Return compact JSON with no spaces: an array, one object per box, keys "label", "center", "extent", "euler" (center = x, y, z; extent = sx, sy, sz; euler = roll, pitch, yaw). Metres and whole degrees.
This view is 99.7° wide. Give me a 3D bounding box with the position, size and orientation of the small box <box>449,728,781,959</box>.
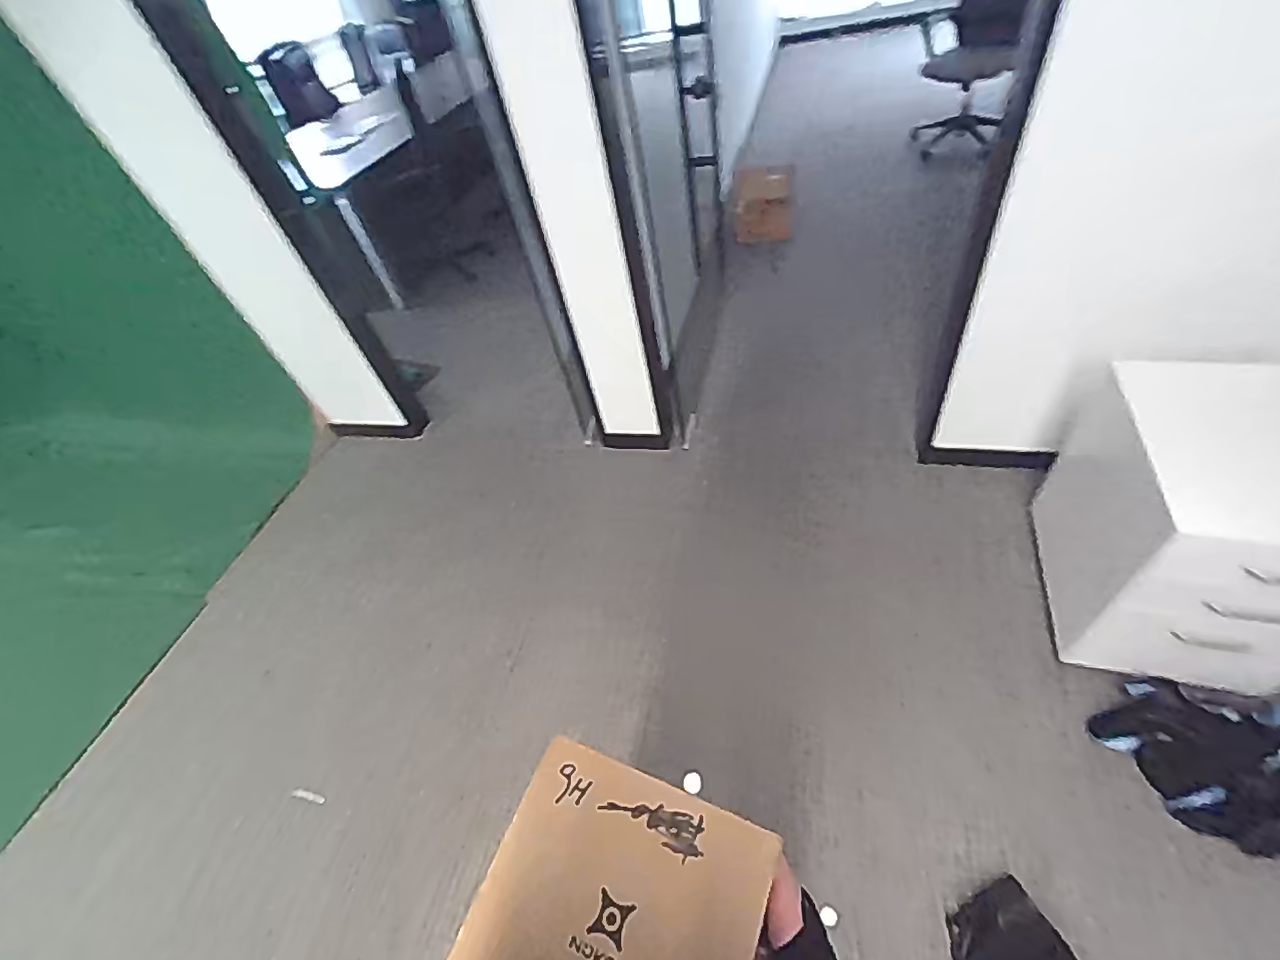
[{"label":"small box","center":[-0.005,0.308,0.377],"extent":[0.168,0.176,0.179],"euler":[14,57,21]}]
